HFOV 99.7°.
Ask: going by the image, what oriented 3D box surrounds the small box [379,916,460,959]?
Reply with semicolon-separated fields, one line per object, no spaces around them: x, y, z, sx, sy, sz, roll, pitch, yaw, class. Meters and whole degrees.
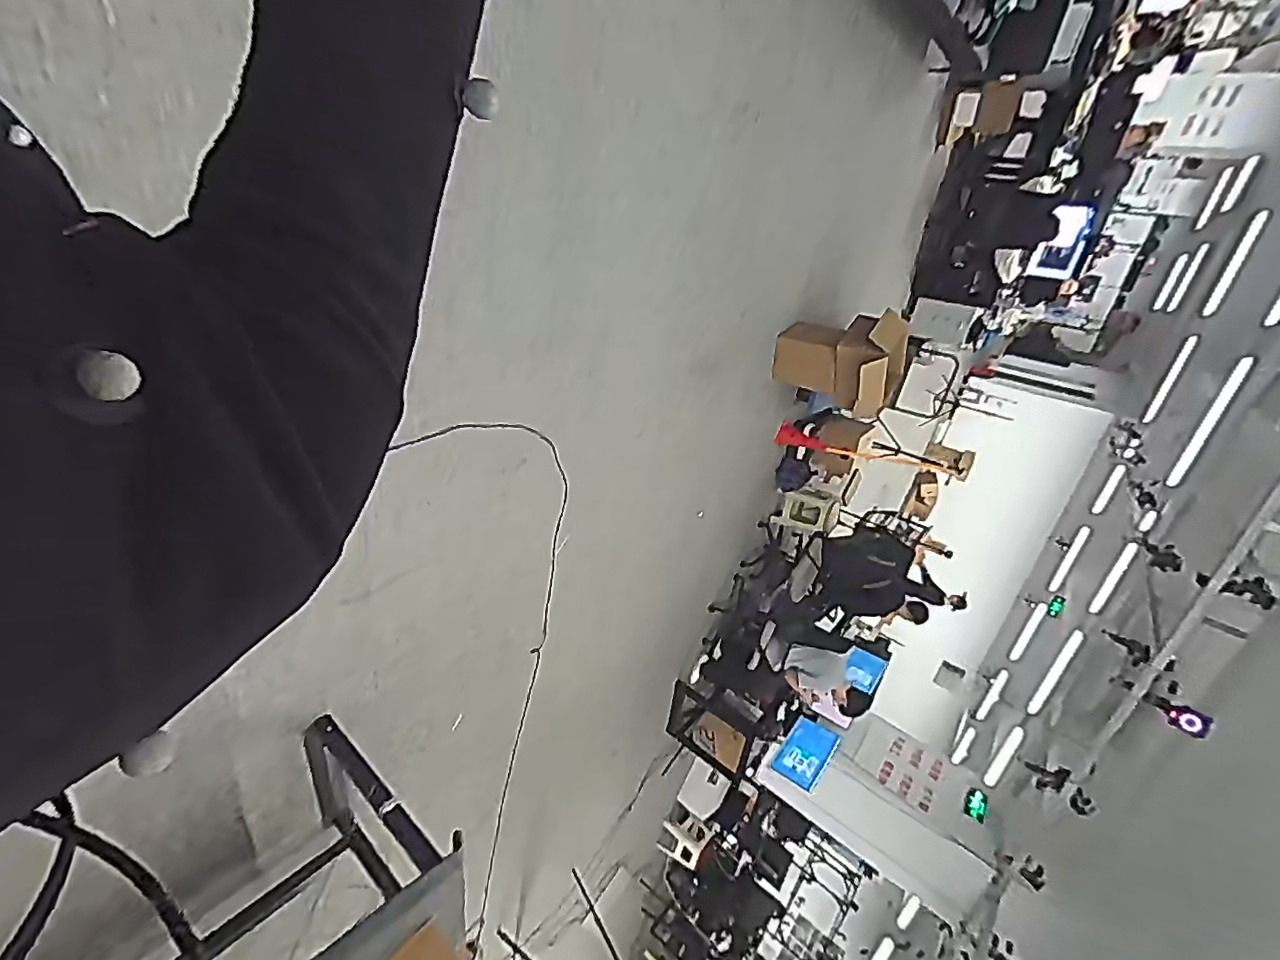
-0.560;1.268;1.369;0.179;0.176;0.168;-32;136;-40;small box
